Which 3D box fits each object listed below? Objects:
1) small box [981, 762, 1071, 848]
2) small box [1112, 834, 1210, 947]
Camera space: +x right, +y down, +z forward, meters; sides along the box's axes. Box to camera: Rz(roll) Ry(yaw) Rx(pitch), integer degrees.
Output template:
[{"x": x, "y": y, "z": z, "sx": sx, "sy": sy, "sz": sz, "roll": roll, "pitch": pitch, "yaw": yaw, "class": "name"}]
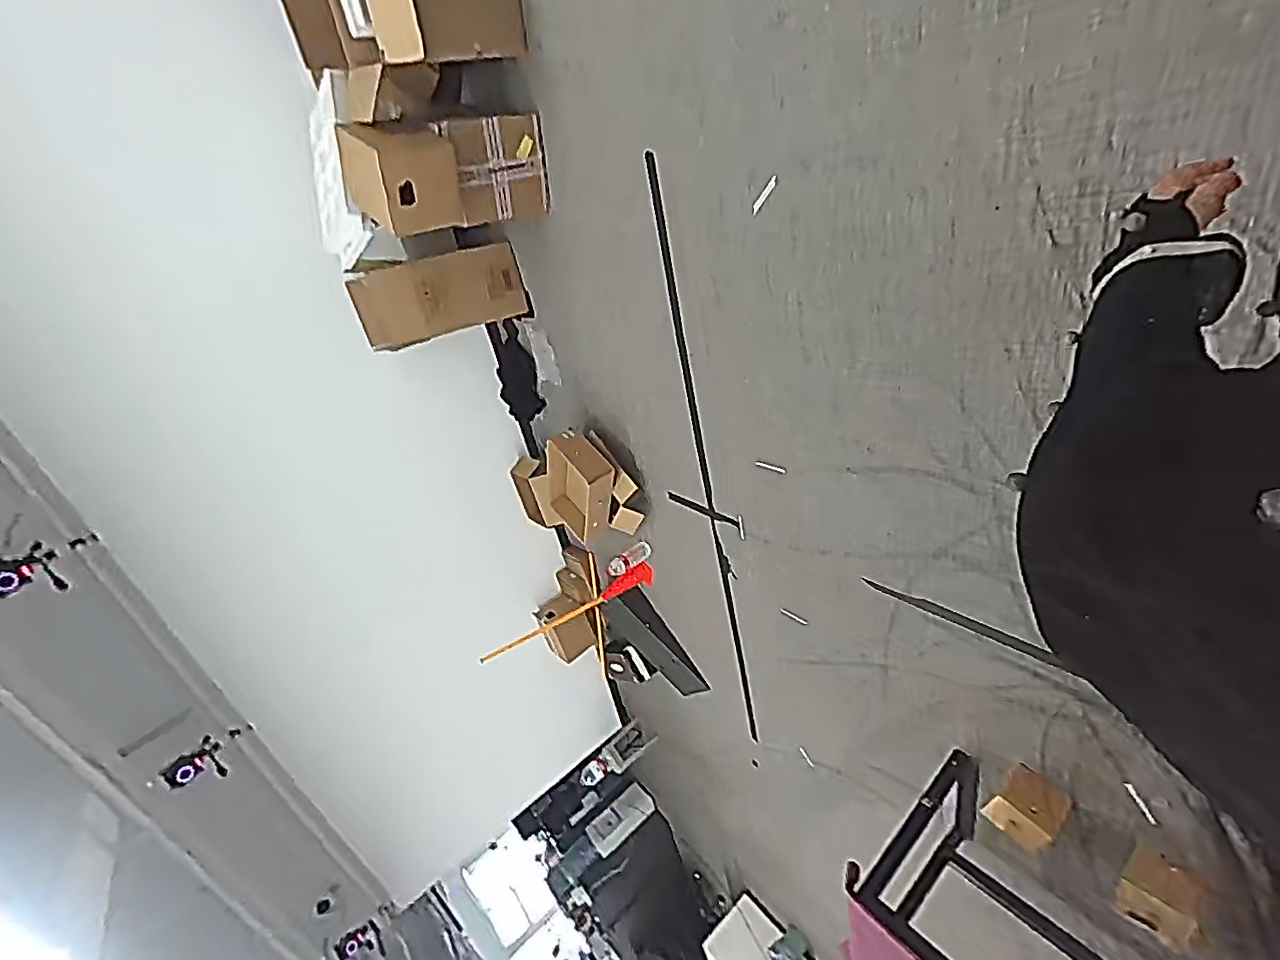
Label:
[{"x": 1.348, "y": 1.125, "z": 1.889, "sx": 0.179, "sy": 0.176, "sz": 0.168, "roll": 36, "pitch": 143, "yaw": 35, "class": "small box"}, {"x": 1.568, "y": 1.229, "z": 1.628, "sx": 0.168, "sy": 0.176, "sz": 0.179, "roll": 21, "pitch": 133, "yaw": 49, "class": "small box"}]
